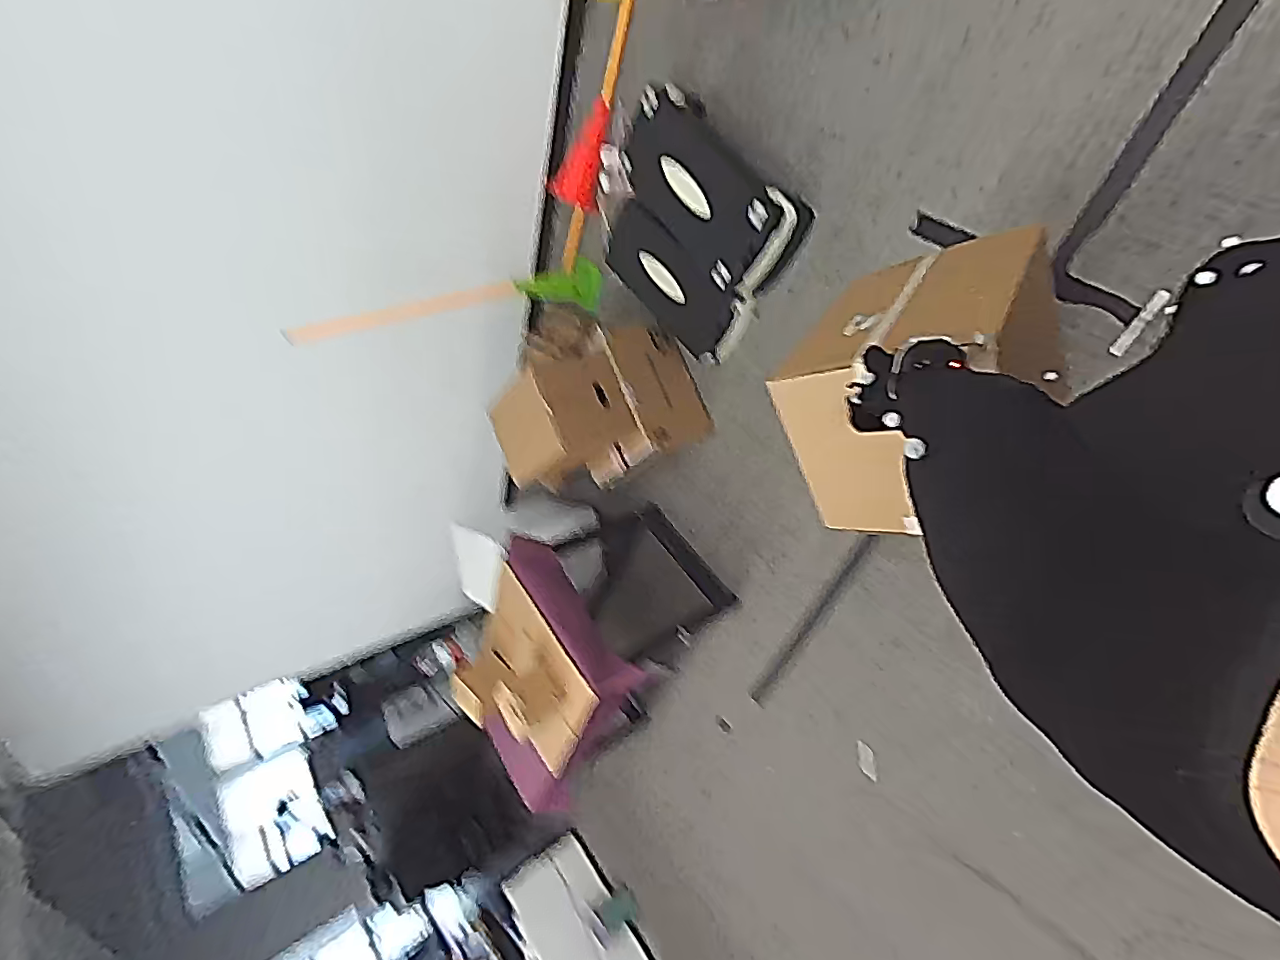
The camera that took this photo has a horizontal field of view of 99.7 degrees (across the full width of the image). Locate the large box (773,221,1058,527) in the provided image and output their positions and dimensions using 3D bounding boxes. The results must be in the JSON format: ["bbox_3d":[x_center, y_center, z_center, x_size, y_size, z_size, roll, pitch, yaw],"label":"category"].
[{"bbox_3d":[0.488,-0.171,0.919,0.320,0.408,0.320,-1,128,46],"label":"large box"}]
